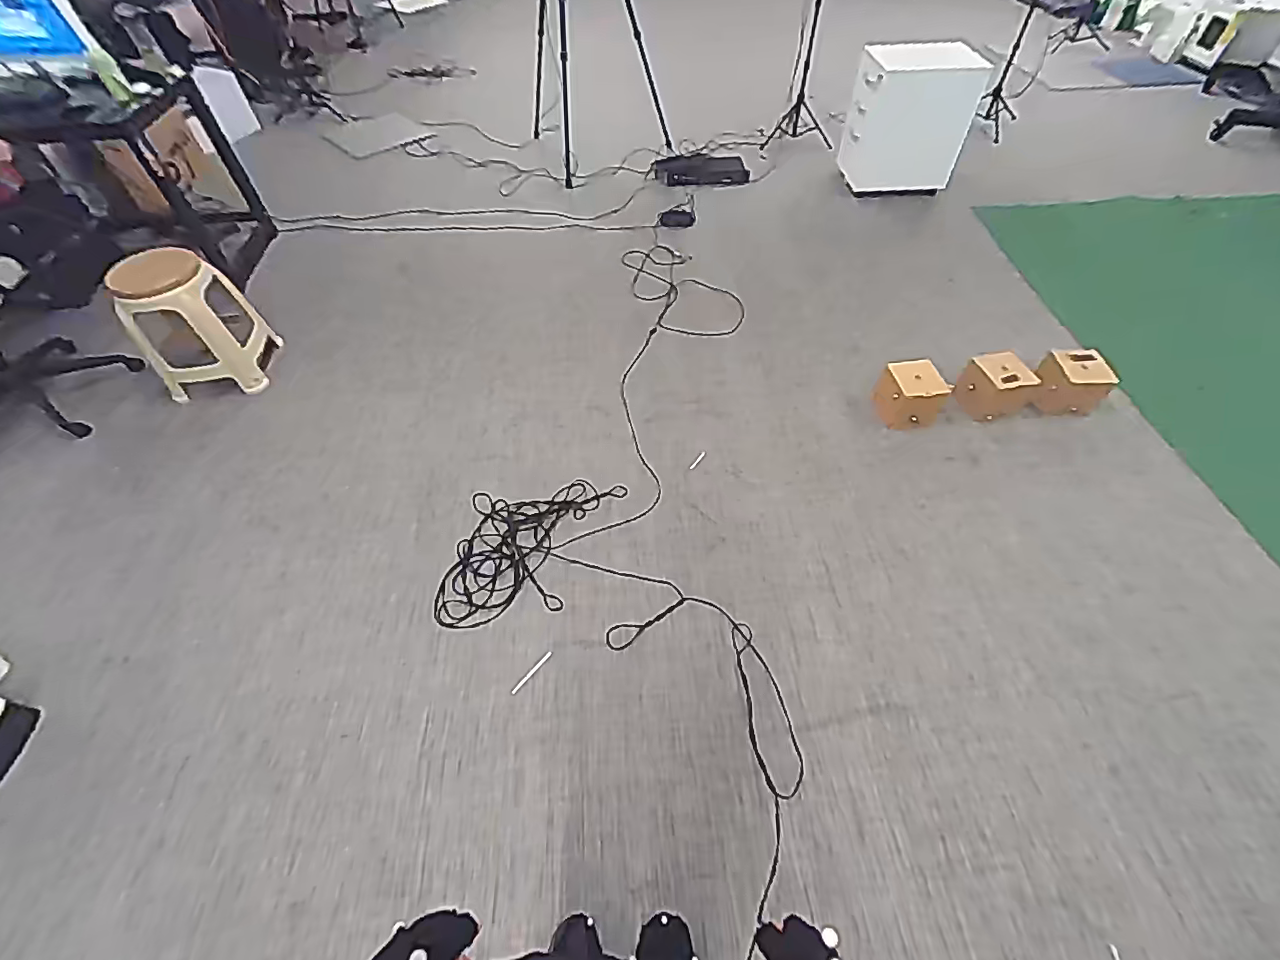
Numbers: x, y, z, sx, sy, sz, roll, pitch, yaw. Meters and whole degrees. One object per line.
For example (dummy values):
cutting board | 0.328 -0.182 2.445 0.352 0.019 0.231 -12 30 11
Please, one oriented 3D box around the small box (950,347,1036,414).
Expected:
small box | 1.284 -0.356 1.980 0.168 0.176 0.179 -10 53 -7

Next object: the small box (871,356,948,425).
small box | 0.968 -0.325 1.963 0.168 0.176 0.179 -7 54 -4
